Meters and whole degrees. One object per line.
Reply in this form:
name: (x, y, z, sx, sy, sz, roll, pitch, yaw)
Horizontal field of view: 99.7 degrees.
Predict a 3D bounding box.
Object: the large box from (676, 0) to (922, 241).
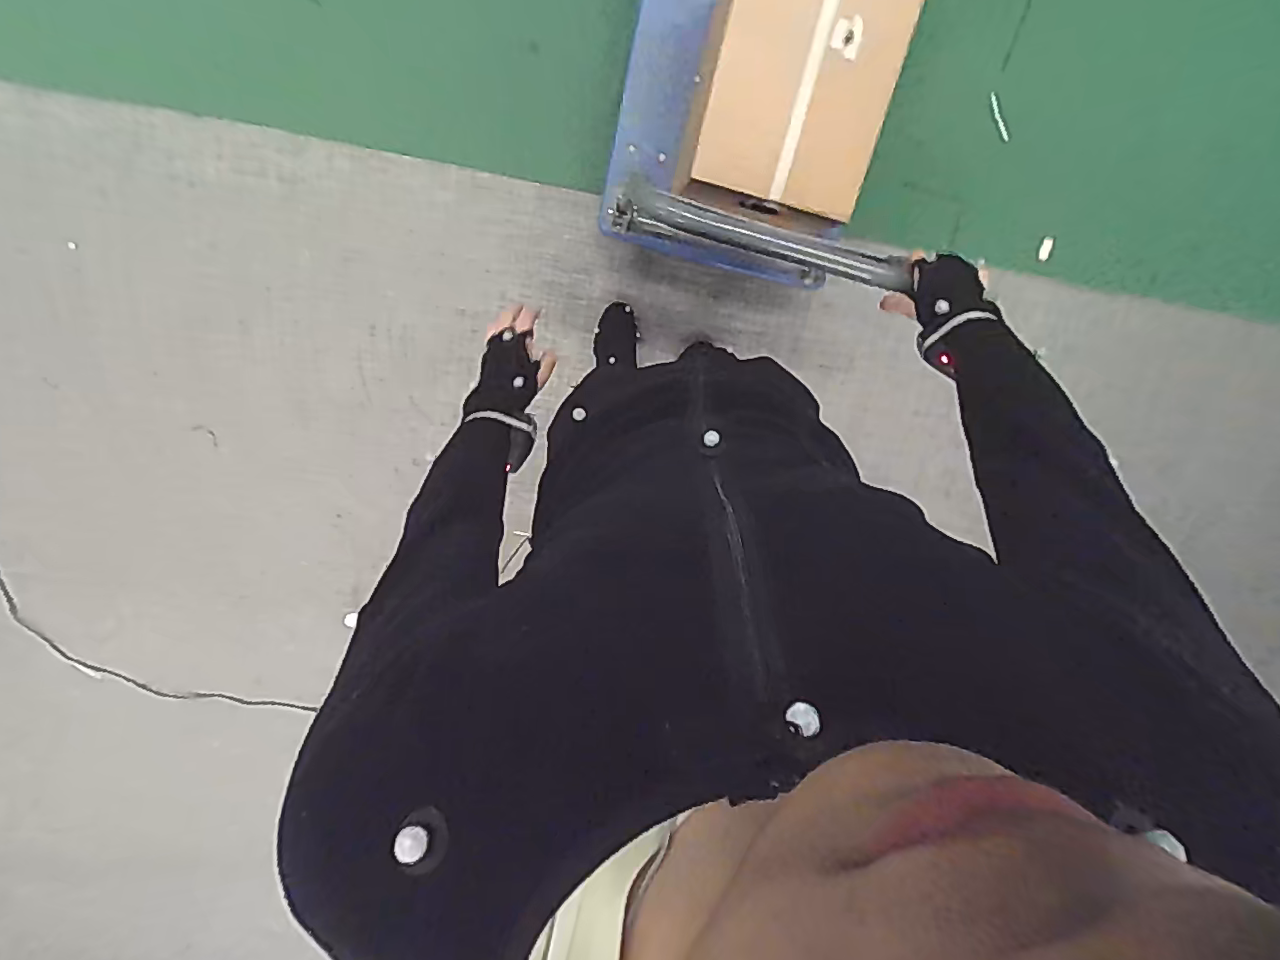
large box: (0.280, -0.734, 1.076, 0.320, 0.320, 0.408, 12, 107, -9)
